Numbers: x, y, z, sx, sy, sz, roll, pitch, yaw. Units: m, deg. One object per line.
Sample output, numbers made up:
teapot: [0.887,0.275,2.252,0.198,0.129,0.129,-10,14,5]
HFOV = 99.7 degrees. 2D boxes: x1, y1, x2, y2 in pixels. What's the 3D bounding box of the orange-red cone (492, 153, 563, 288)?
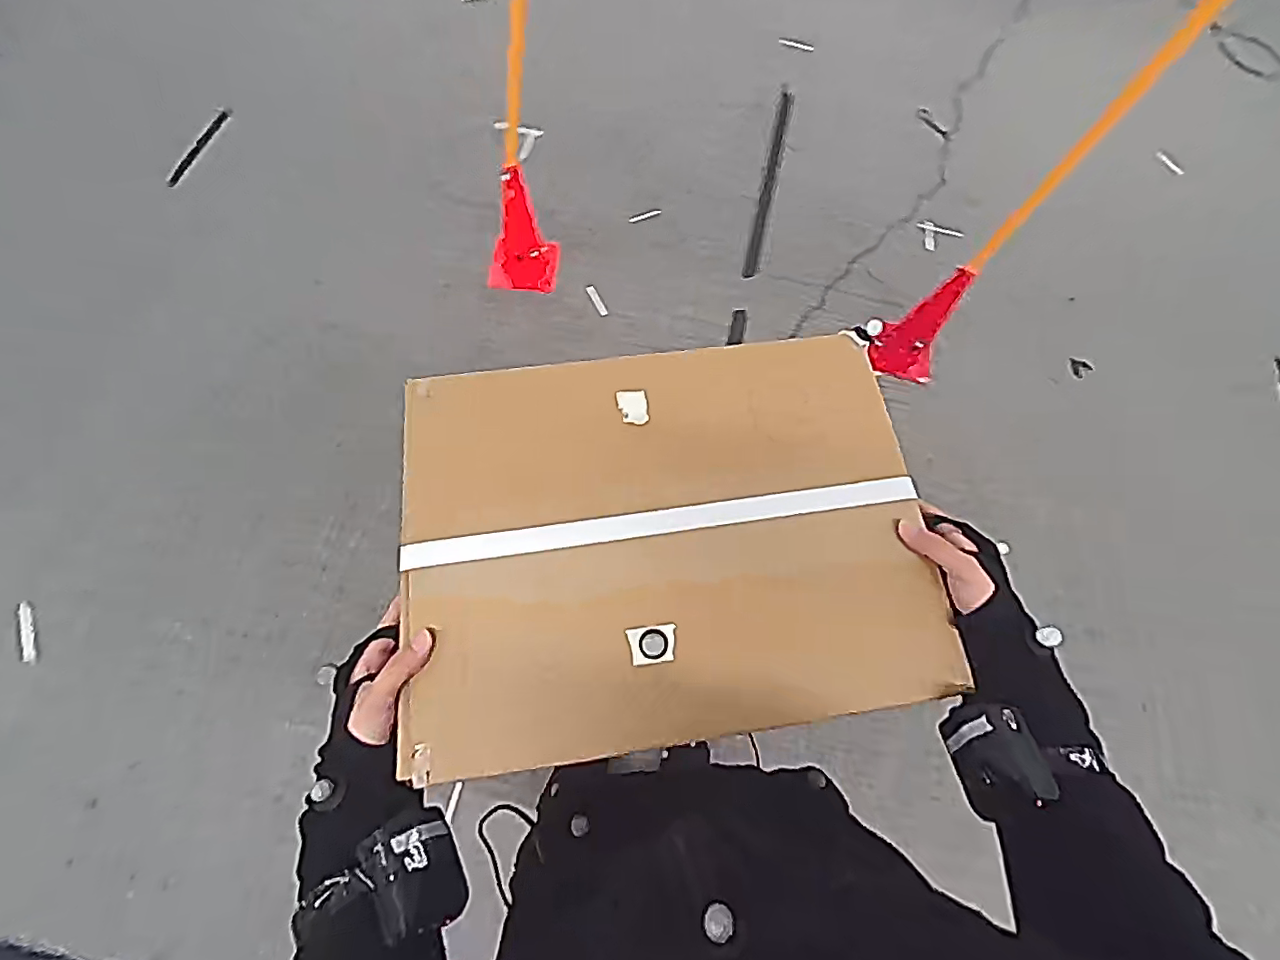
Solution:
orange-red cone: [-0.335,-0.747,1.527,0.199,0.360,0.198,6,67,-2]
